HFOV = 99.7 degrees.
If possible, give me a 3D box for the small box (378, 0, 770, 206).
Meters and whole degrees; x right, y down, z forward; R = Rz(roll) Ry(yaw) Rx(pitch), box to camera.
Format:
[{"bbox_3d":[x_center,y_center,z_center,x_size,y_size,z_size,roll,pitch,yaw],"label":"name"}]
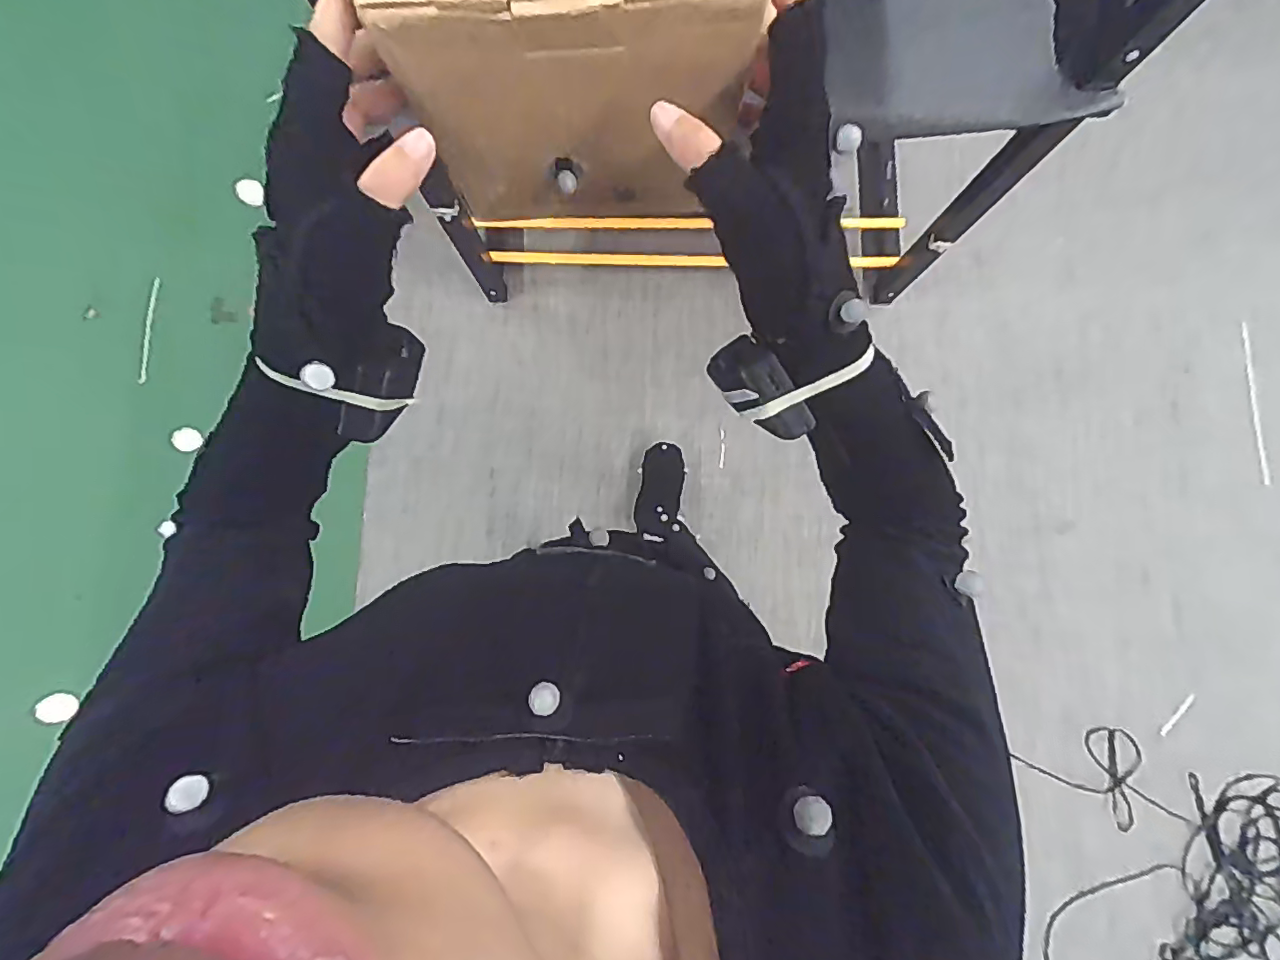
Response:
[{"bbox_3d":[-0.035,-0.276,0.287,0.168,0.176,0.179,-4,90,-1],"label":"small box"}]
